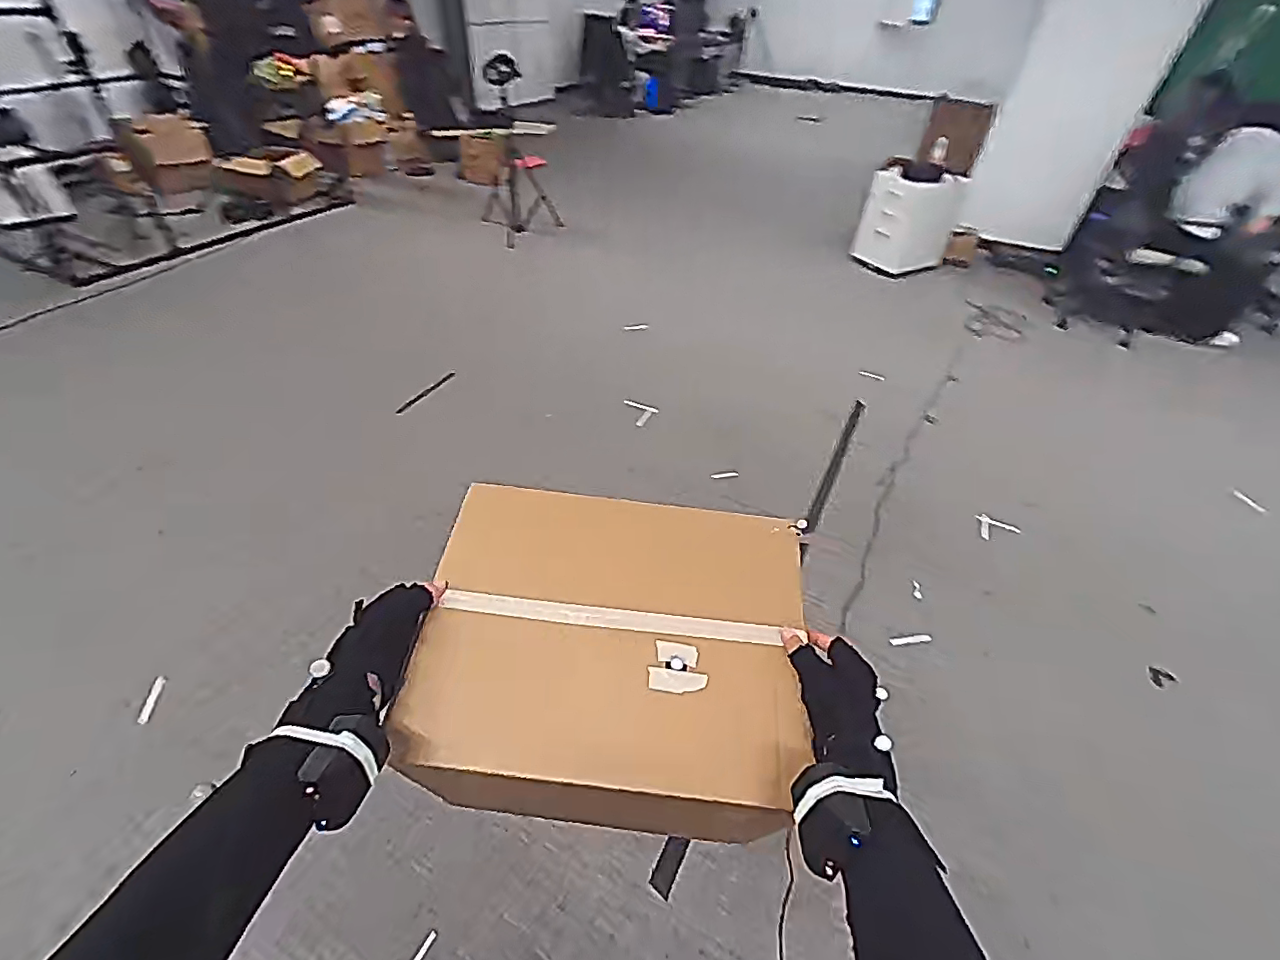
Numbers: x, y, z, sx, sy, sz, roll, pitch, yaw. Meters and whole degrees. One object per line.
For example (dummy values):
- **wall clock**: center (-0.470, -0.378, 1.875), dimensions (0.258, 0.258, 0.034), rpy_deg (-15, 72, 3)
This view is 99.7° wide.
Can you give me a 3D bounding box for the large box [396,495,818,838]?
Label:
- **large box**: center (-0.029, 0.249, 0.705), dimensions (0.408, 0.320, 0.320), rpy_deg (7, 52, 1)
